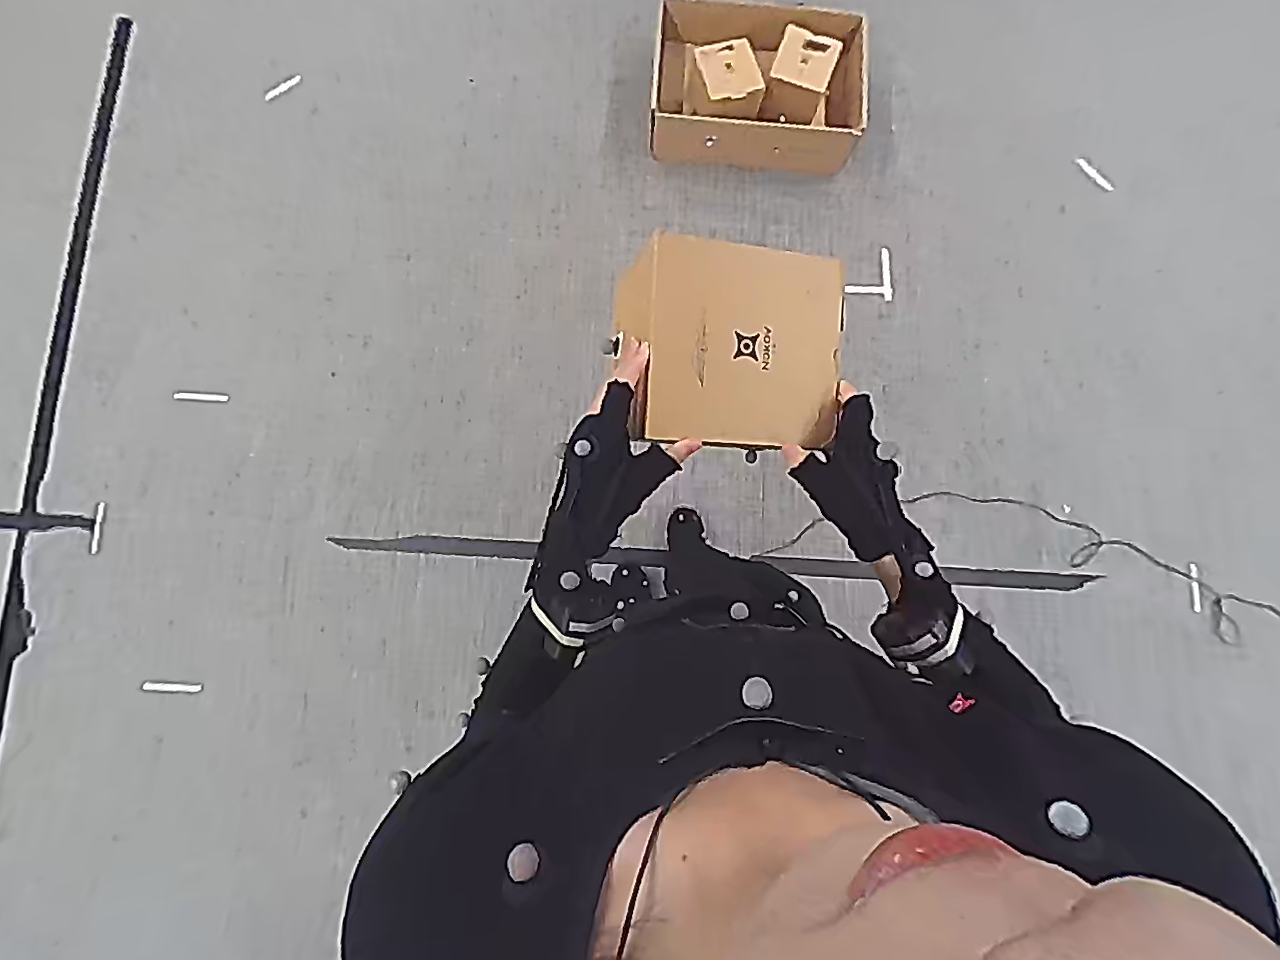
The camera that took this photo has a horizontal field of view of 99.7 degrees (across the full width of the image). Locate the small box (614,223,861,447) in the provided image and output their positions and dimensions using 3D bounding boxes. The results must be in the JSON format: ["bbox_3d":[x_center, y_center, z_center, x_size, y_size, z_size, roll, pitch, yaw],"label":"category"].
[{"bbox_3d":[0.080,-0.118,0.518,0.179,0.176,0.168,2,92,-14],"label":"small box"}]
